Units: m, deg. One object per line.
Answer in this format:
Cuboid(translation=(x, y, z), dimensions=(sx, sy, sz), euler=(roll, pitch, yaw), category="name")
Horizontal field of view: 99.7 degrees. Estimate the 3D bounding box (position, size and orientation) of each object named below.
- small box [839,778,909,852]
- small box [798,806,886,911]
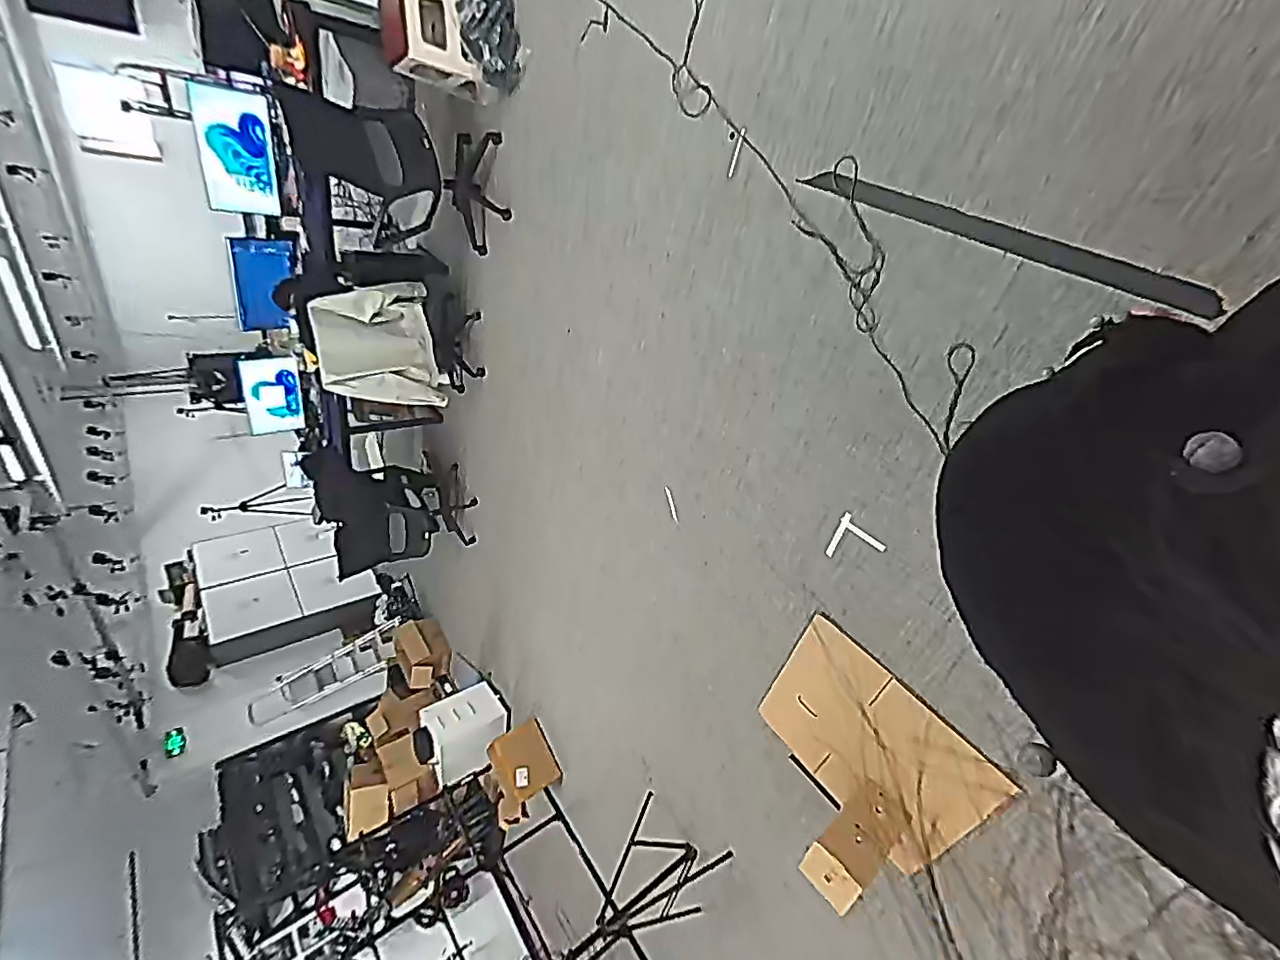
Cuboid(translation=(0.749, 1.123, 1.770), dimensions=(0.168, 0.176, 0.179), euler=(36, 128, 39), category="small box")
Cuboid(translation=(0.625, 1.162, 1.667), dimensions=(0.168, 0.176, 0.179), euler=(37, 129, 37), category="small box")
